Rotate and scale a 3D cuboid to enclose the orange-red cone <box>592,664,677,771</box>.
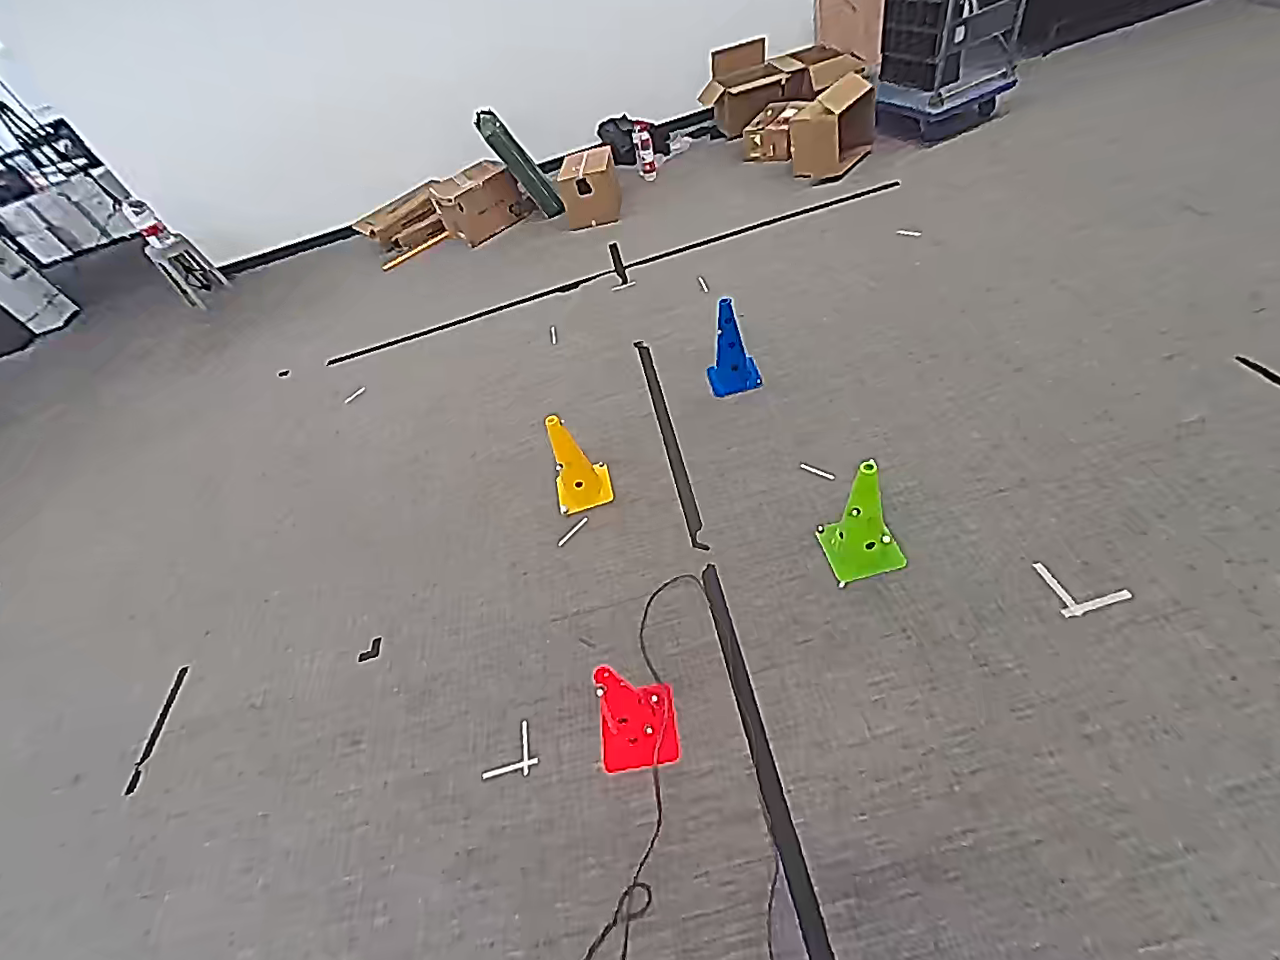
[{"bbox_3d":[-0.047,0.529,1.285,0.199,0.360,0.198,-13,46,7],"label":"orange-red cone"}]

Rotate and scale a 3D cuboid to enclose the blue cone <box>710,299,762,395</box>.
[{"bbox_3d":[0.356,-0.528,2.109,0.192,0.380,0.193,-12,48,5],"label":"blue cone"}]

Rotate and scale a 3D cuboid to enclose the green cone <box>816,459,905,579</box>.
[{"bbox_3d":[0.609,0.083,1.470,0.202,0.368,0.200,-15,47,2],"label":"green cone"}]
